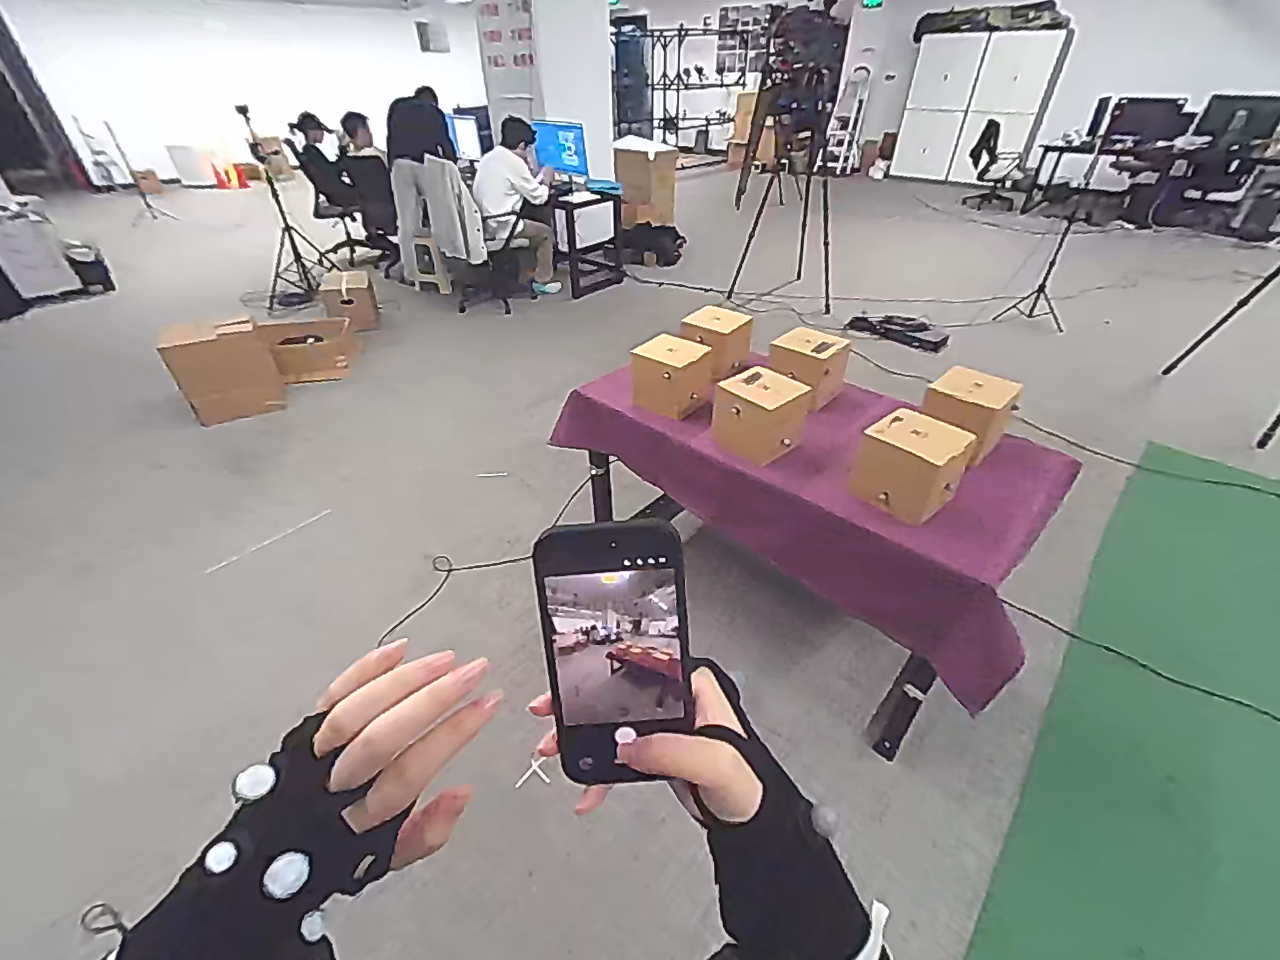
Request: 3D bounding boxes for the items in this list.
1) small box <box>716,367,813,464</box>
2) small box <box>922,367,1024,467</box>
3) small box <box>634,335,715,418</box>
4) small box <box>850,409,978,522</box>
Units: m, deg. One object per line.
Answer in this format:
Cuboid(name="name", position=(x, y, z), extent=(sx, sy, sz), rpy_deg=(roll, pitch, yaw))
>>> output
Cuboid(name="small box", position=(0.313, -0.166, 1.395), extent=(0.168, 0.176, 0.179), rpy_deg=(-28, 46, -31))
Cuboid(name="small box", position=(0.832, -0.162, 1.382), extent=(0.179, 0.176, 0.168), rpy_deg=(-30, 46, -32))
Cuboid(name="small box", position=(0.095, -0.302, 1.575), extent=(0.179, 0.176, 0.168), rpy_deg=(26, 44, 28))
Cuboid(name="small box", position=(0.604, -0.029, 1.211), extent=(0.168, 0.176, 0.179), rpy_deg=(-26, 45, -31))
